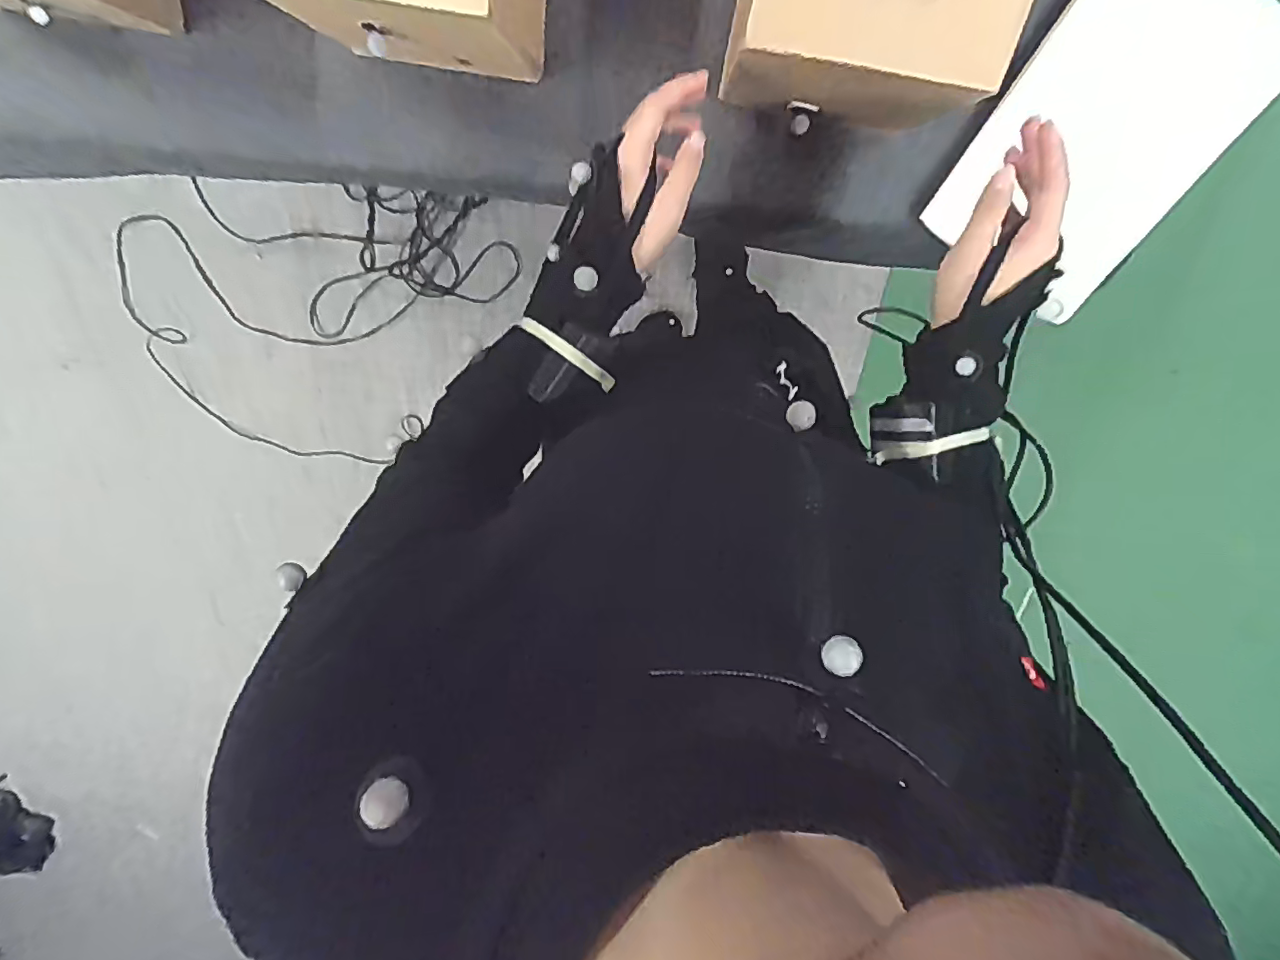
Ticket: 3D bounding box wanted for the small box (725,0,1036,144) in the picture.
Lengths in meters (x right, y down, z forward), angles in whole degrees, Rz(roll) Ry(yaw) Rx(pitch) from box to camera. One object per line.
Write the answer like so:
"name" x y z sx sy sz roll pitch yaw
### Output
"small box" 0.160 -0.357 0.374 0.168 0.176 0.179 9 115 -1
